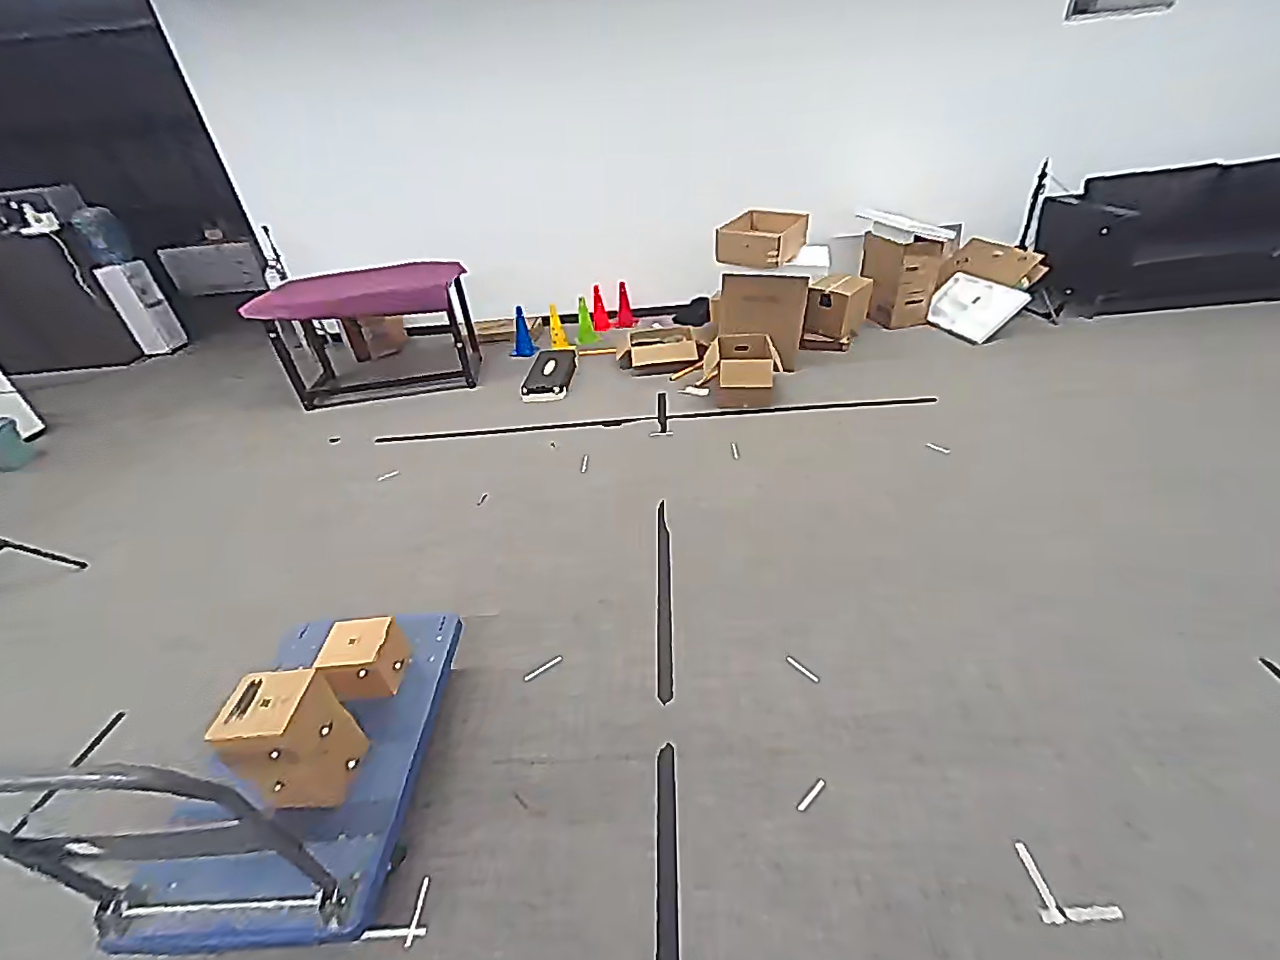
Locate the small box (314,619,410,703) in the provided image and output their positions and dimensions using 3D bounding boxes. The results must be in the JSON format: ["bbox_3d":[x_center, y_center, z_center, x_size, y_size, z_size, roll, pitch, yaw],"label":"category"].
[{"bbox_3d":[-0.811,0.537,1.596,0.179,0.176,0.168,-6,34,-1],"label":"small box"}]

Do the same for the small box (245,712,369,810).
[{"bbox_3d":[-0.821,0.703,1.352,0.179,0.176,0.168,-2,35,5],"label":"small box"}]
